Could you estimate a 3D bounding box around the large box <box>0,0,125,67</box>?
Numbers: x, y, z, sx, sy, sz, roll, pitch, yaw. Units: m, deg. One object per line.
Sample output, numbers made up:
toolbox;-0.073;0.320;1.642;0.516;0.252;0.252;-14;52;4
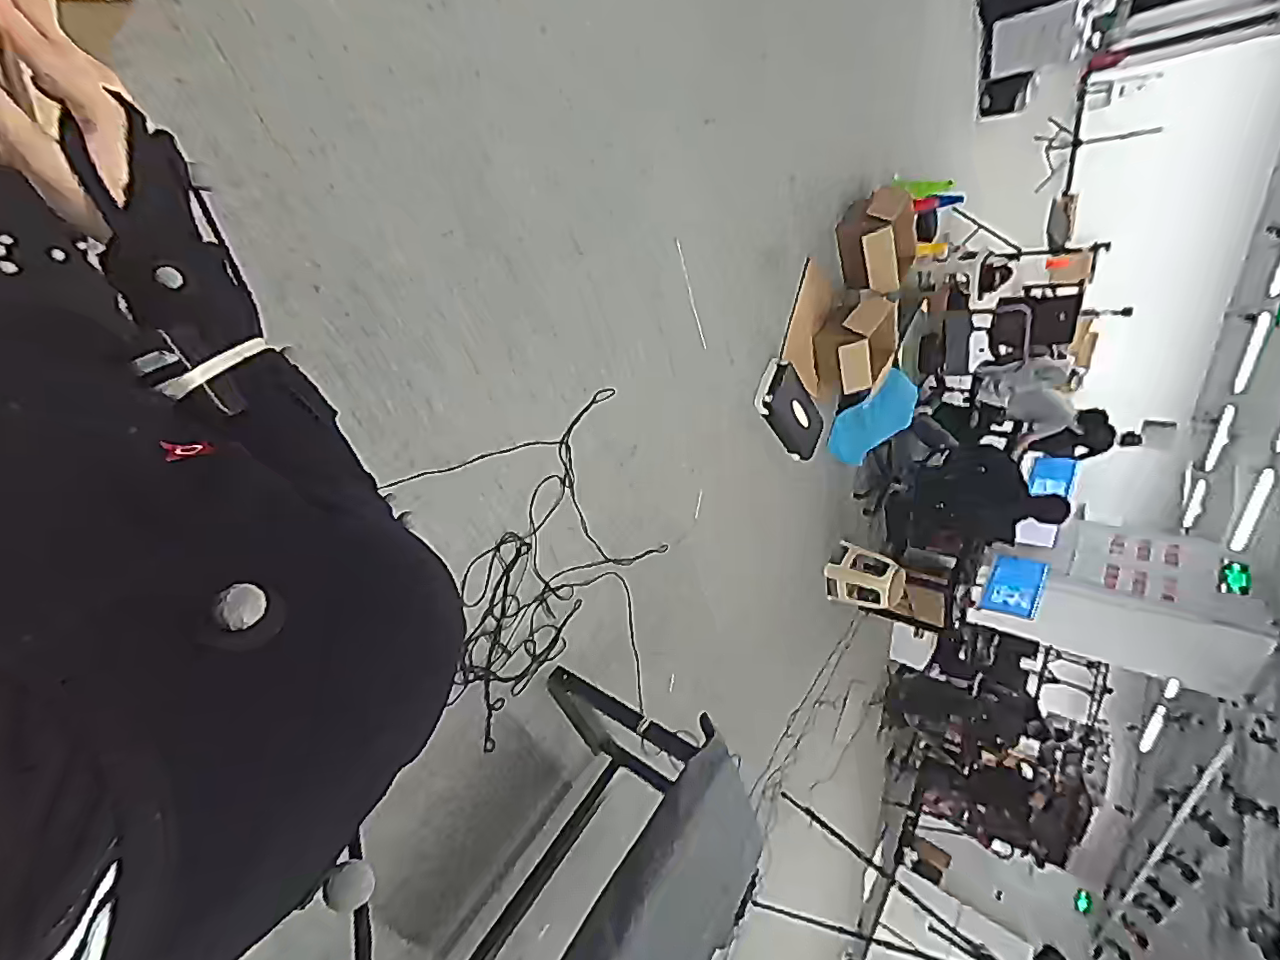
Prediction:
large box;-0.940;-0.698;0.619;0.408;0.320;0.320;-40;129;-37
